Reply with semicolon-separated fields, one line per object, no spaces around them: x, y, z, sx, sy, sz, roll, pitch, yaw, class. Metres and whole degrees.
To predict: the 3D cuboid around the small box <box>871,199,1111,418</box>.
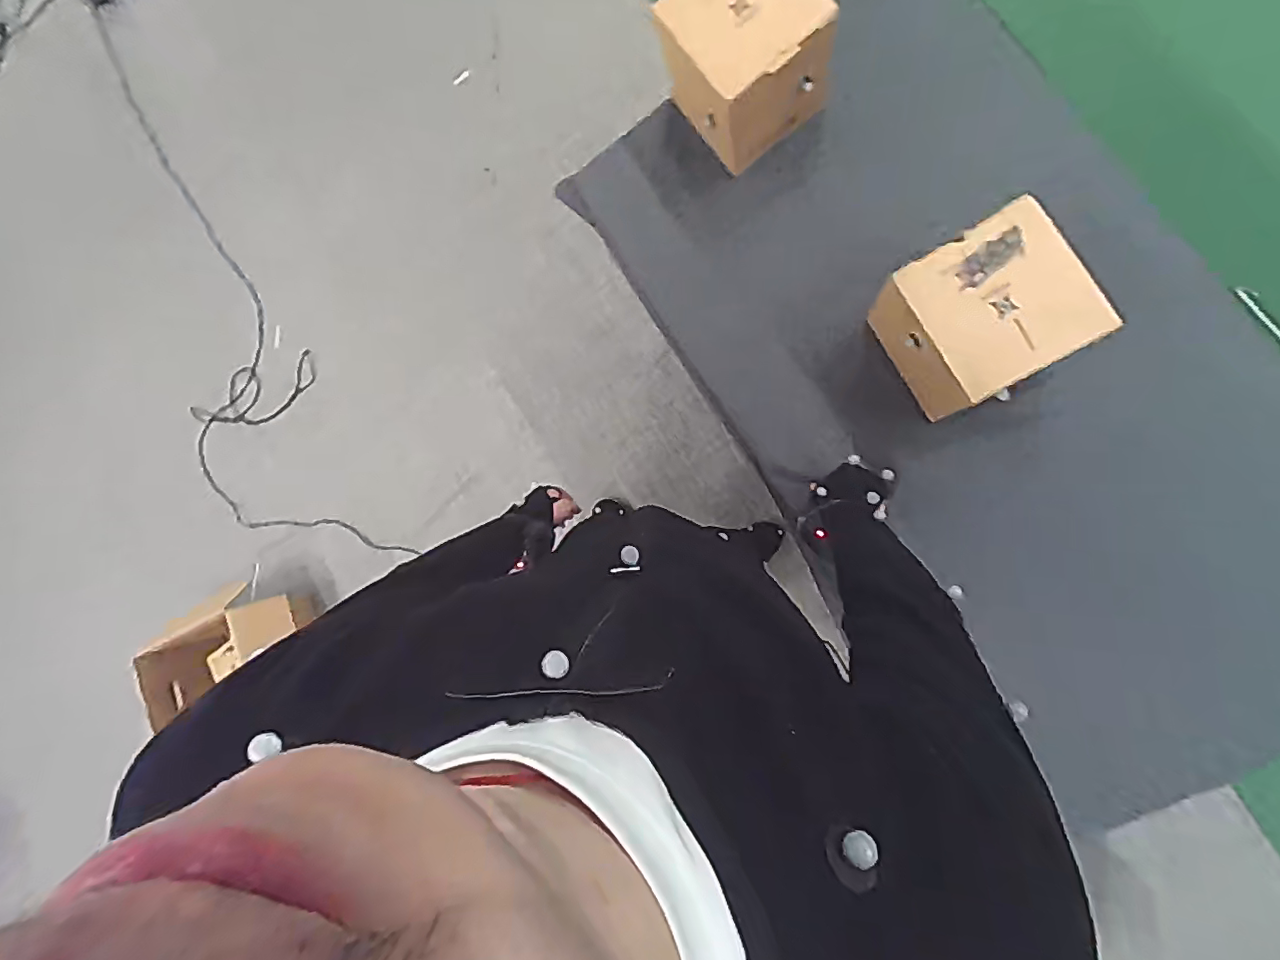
0.411;-0.196;0.674;0.168;0.176;0.179;-26;83;13;small box

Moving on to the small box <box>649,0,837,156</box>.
0.140;-0.584;0.734;0.168;0.176;0.179;-36;80;9;small box
